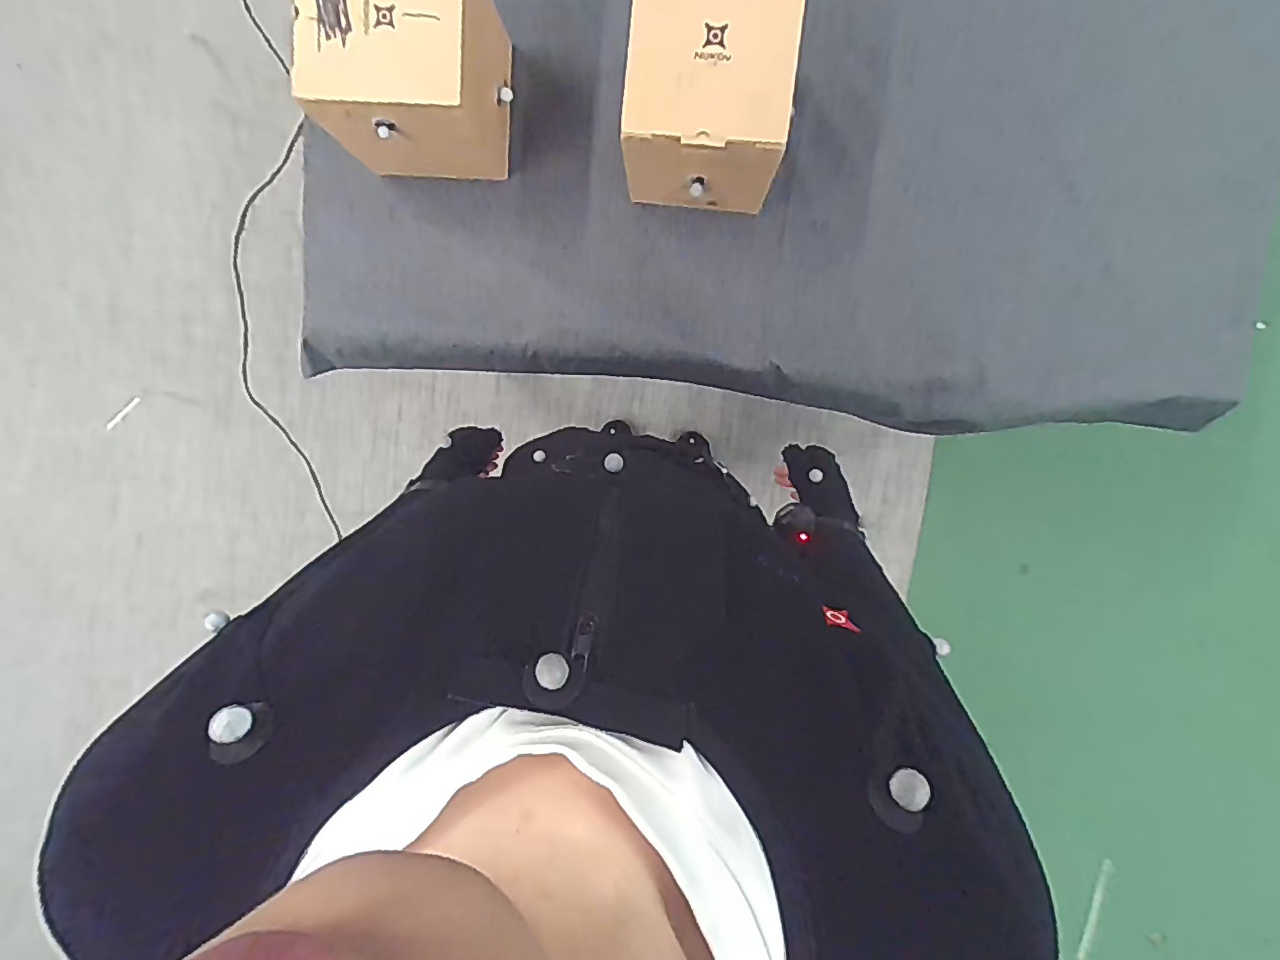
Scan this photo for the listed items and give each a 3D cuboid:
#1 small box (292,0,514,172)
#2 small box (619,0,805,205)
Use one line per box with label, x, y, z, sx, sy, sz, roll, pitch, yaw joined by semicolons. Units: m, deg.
small box;-0.254;-0.471;0.609;0.179;0.176;0.168;4;97;1
small box;0.075;-0.427;0.598;0.168;0.176;0.179;7;97;2
